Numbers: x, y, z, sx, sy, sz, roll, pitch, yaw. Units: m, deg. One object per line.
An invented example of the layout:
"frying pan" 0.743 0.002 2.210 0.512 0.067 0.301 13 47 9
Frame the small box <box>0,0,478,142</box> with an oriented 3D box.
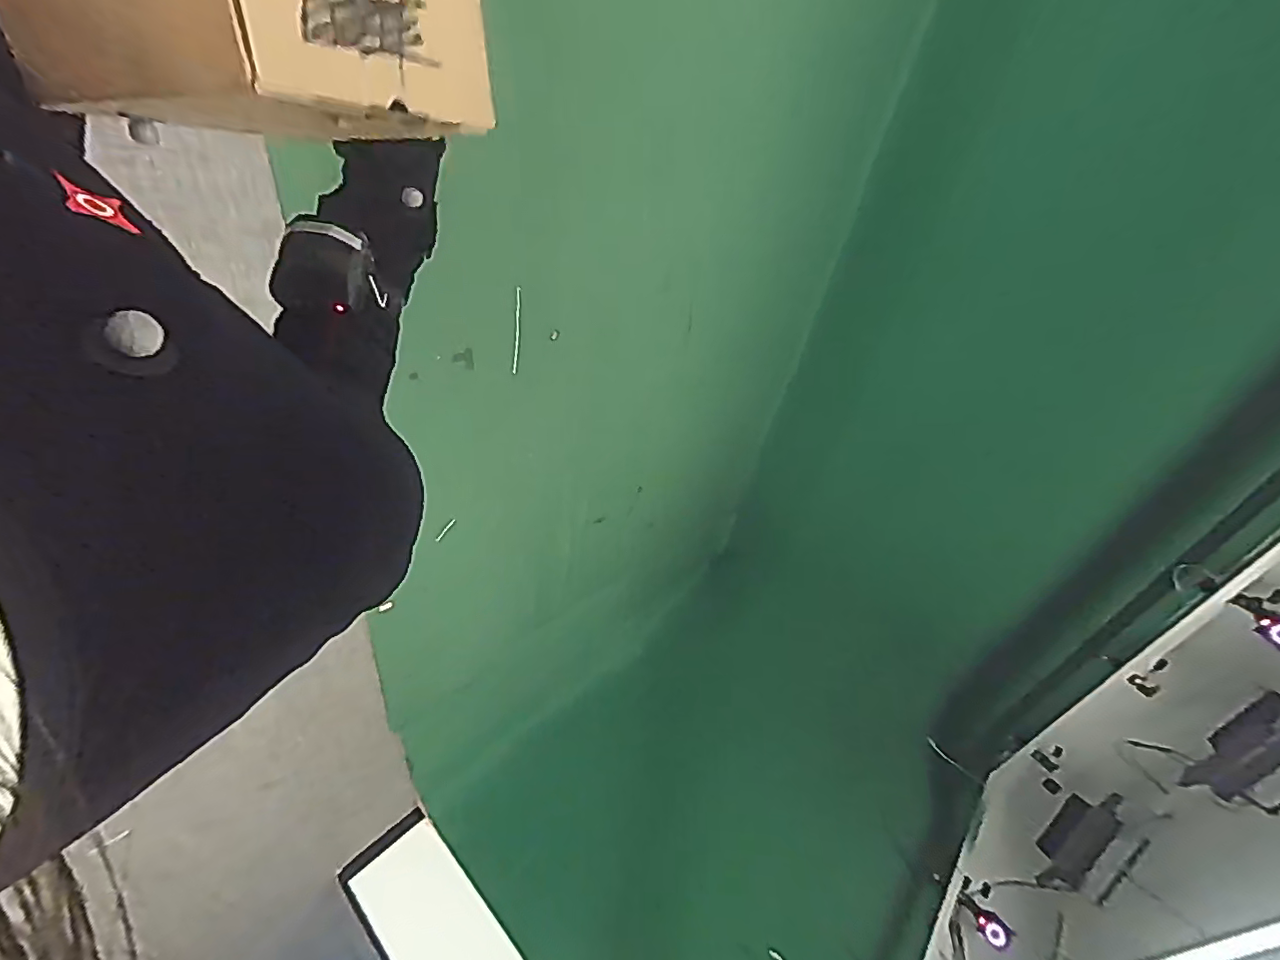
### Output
"small box" -0.212 -0.288 0.281 0.168 0.176 0.179 -50 144 -58
